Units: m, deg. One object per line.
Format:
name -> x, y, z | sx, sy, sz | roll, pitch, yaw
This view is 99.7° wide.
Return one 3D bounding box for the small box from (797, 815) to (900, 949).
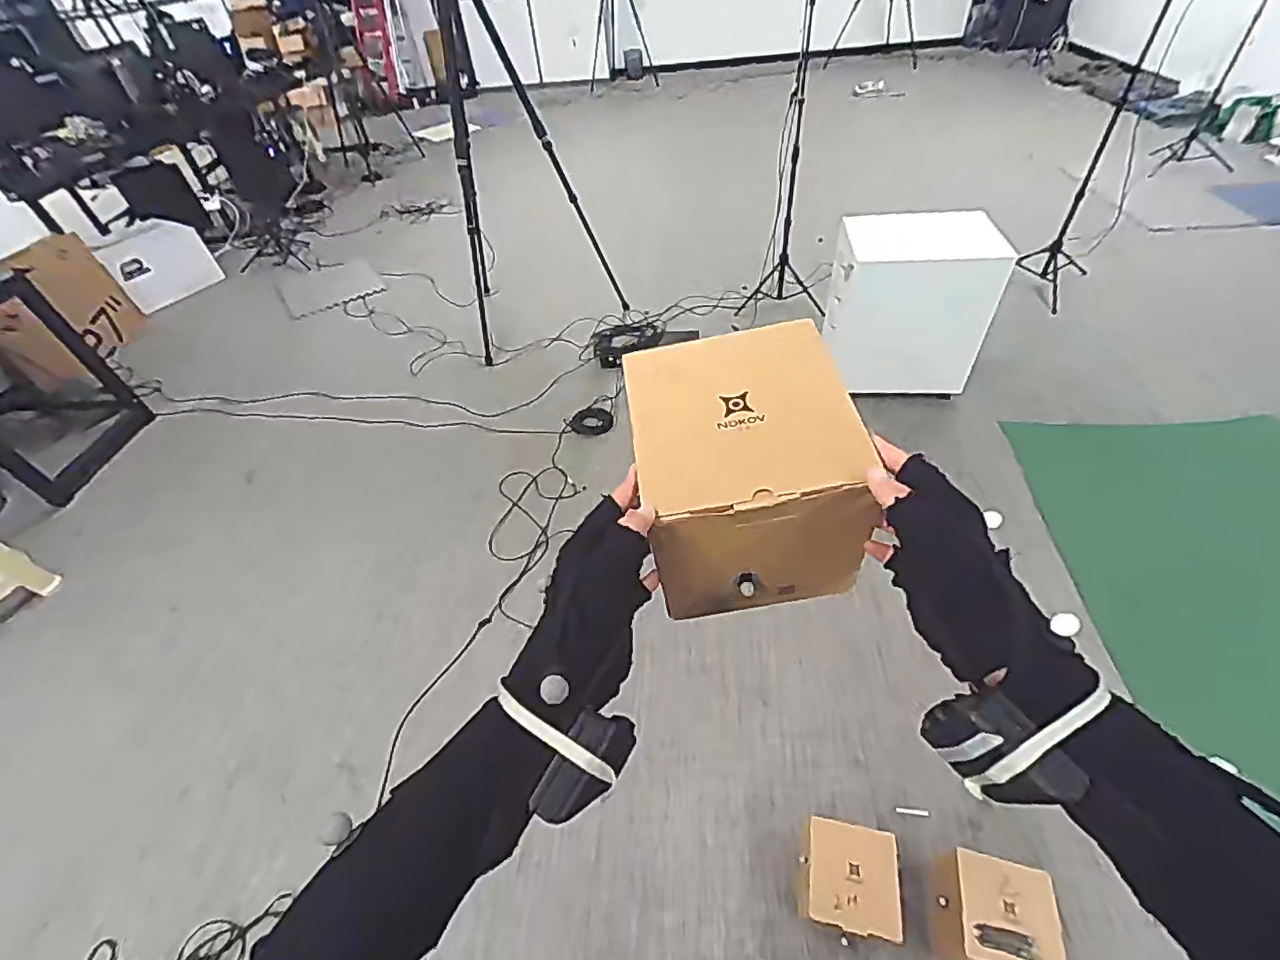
small box -> 0.416, 0.819, 1.101 | 0.168, 0.176, 0.179 | 6, 48, 13
